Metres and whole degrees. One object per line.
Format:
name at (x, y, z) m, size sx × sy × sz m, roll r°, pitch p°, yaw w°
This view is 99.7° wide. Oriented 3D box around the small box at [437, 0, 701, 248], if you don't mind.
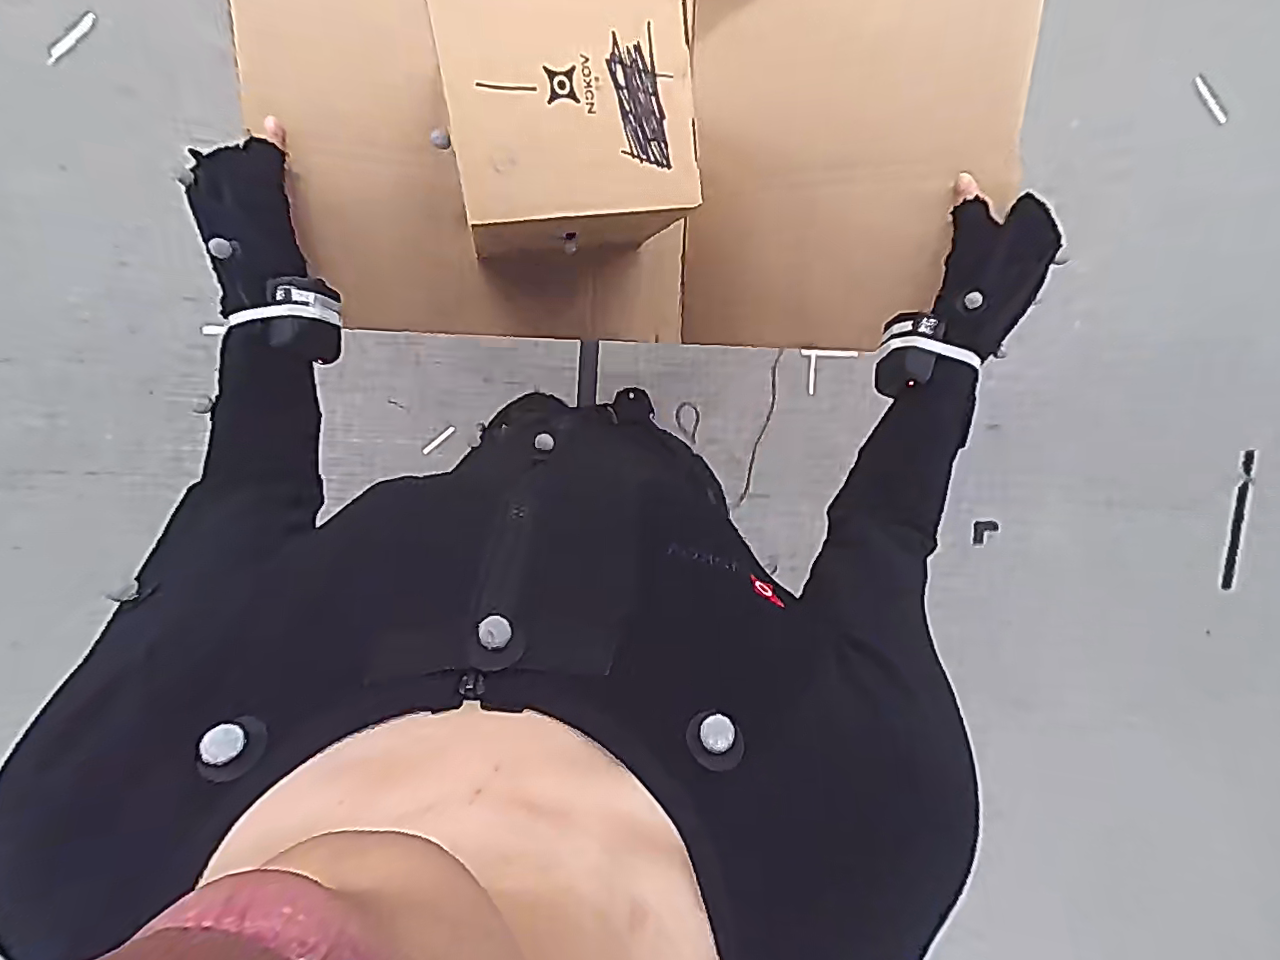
small box at (-0.064, -0.300, 0.457) m, size 0.179 × 0.176 × 0.168 m, roll -11°, pitch 107°, yaw -12°
